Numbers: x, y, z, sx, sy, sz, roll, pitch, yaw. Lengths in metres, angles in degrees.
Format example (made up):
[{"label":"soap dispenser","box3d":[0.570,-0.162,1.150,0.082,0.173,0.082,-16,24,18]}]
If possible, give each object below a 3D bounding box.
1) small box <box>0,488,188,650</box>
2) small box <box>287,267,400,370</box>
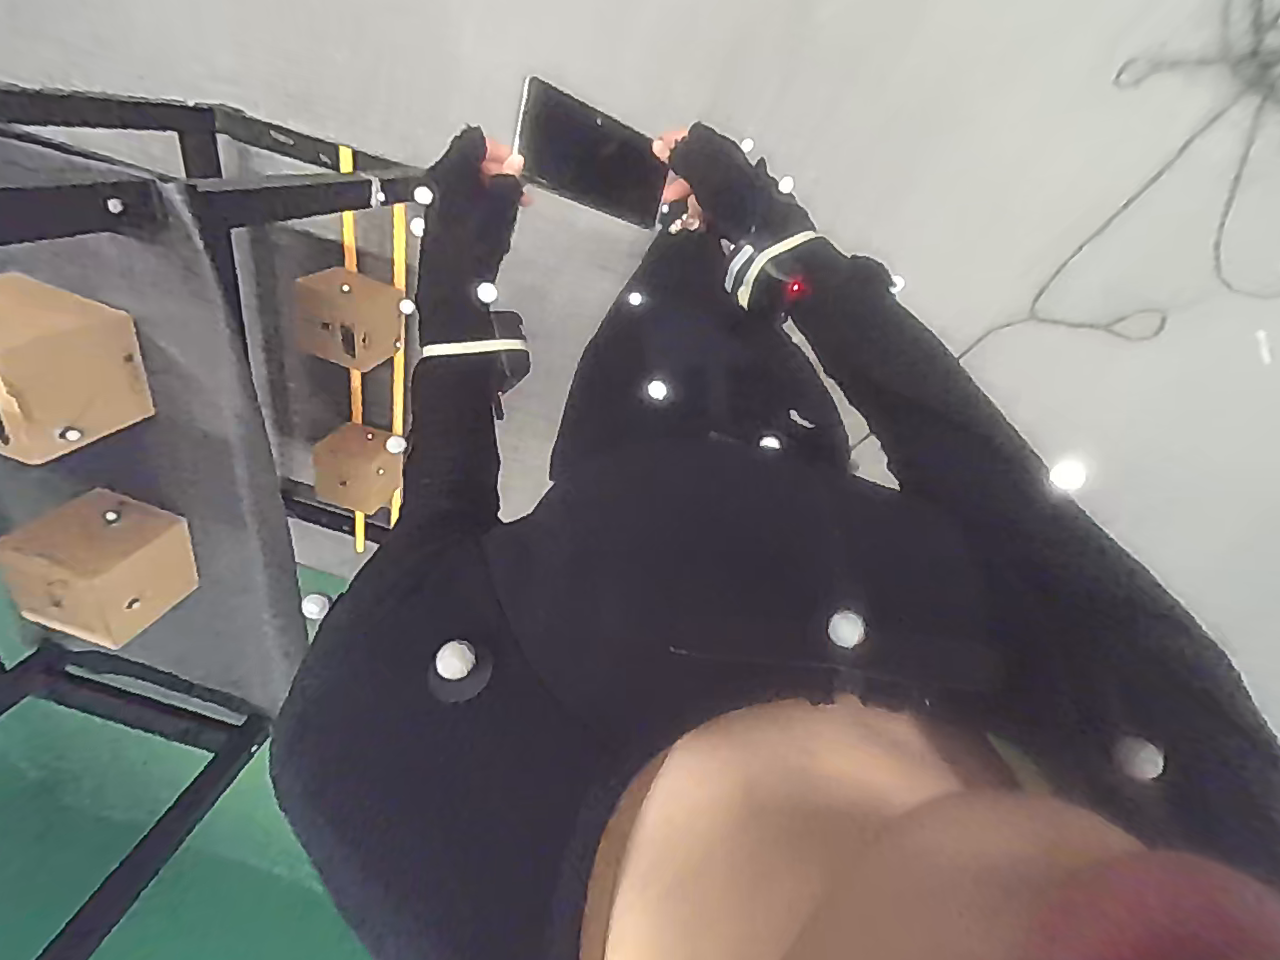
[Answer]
[{"label":"small box","box3d":[-0.915,0.145,0.915,0.168,0.176,0.179,20,122,-2]},{"label":"small box","box3d":[-0.698,-0.390,1.288,0.179,0.176,0.168,20,122,-2]}]
